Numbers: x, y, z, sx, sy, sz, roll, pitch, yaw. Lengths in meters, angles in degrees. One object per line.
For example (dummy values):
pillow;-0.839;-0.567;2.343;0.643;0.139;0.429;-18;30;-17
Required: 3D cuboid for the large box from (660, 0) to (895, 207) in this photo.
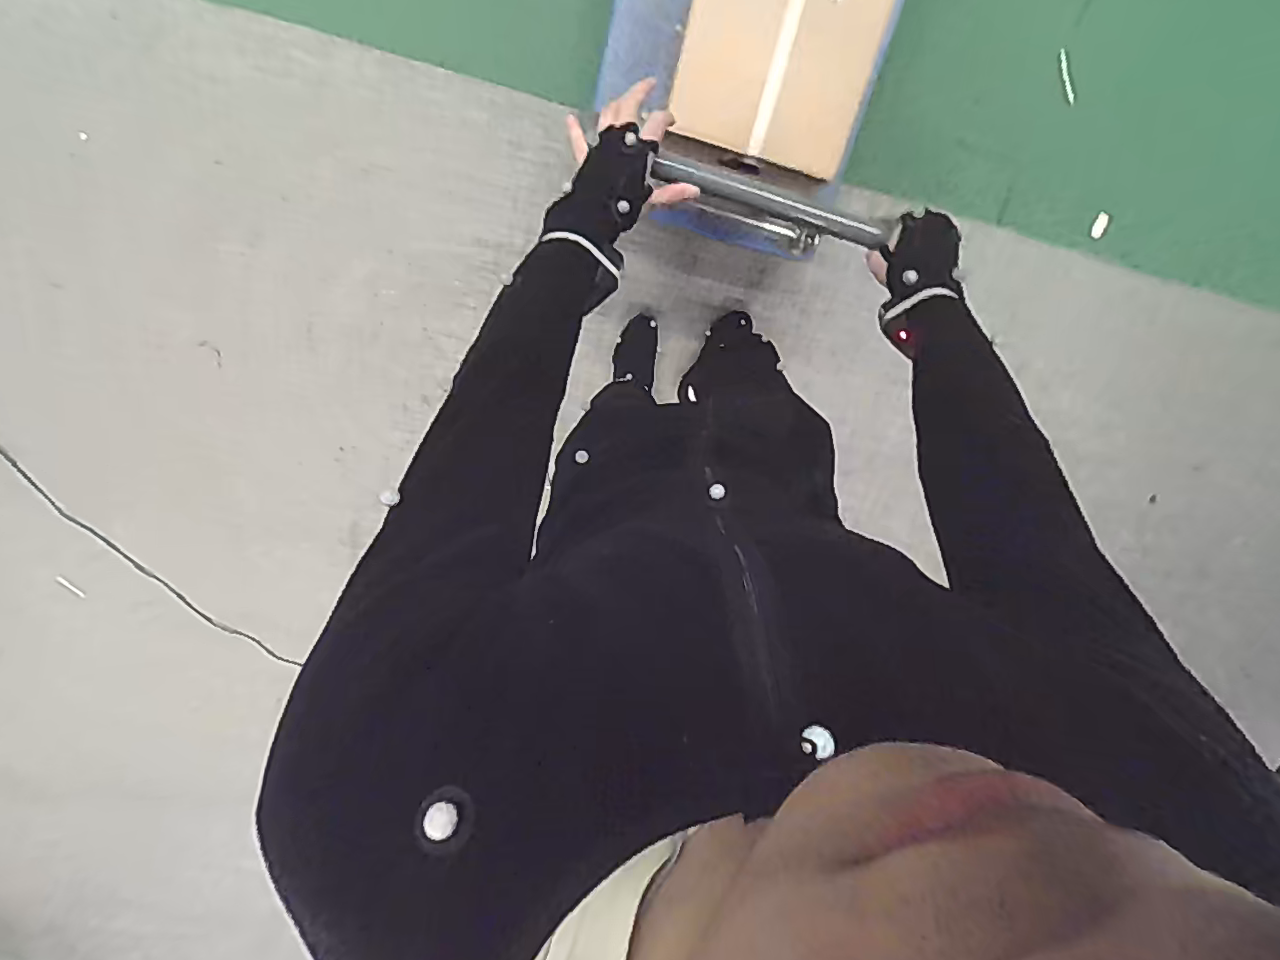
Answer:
large box;0.238;-0.785;1.017;0.320;0.320;0.408;13;109;-8
